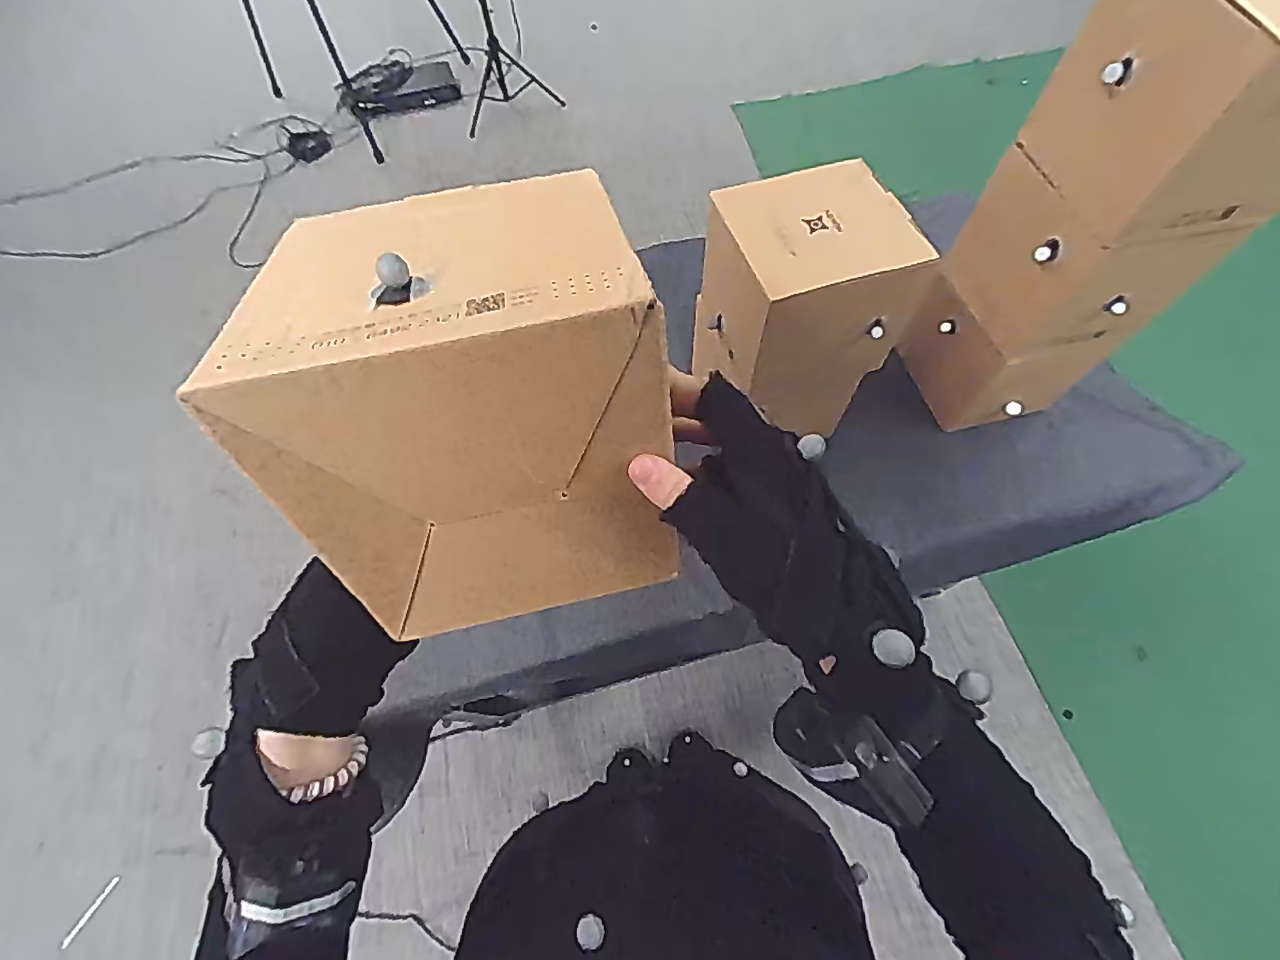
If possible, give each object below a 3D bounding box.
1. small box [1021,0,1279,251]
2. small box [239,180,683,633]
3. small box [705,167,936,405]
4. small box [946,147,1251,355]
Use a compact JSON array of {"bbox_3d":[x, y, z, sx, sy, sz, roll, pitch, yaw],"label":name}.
[{"bbox_3d":[0.492,-0.337,0.479,0.168,0.176,0.179,-10,63,-2],"label":"small box"},{"bbox_3d":[-0.077,-0.038,0.304,0.168,0.179,0.176,-12,46,-5],"label":"small box"},{"bbox_3d":[0.184,-0.212,0.615,0.179,0.176,0.168,-16,63,-5],"label":"small box"},{"bbox_3d":[0.500,-0.264,0.626,0.168,0.176,0.179,-12,63,-3],"label":"small box"}]
